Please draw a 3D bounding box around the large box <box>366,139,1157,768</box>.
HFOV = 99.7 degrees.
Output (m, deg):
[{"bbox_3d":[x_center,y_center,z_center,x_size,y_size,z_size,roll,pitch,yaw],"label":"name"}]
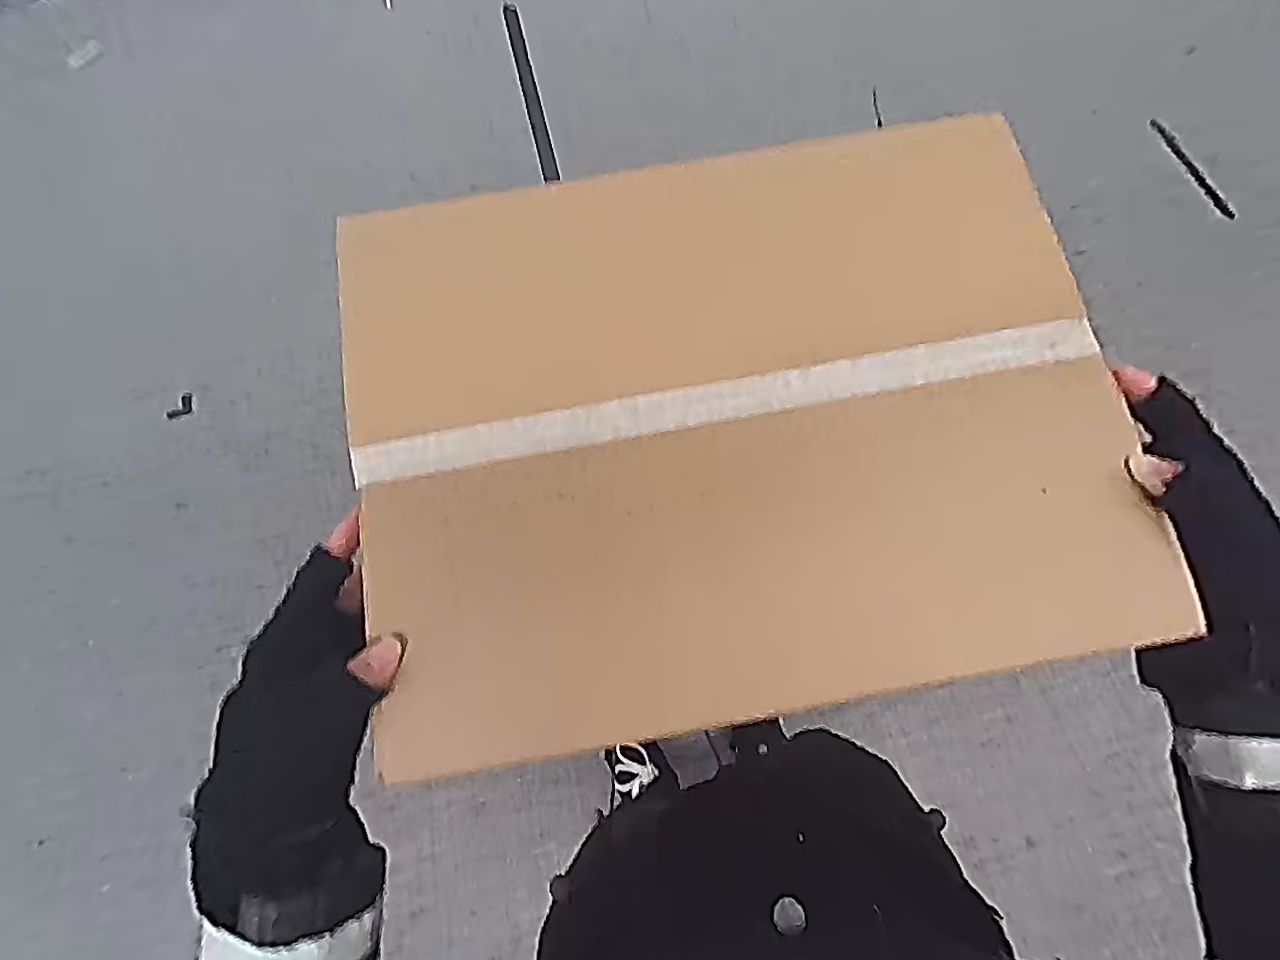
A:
[{"bbox_3d":[0.051,-0.004,0.455,0.408,0.320,0.320,-11,78,-1],"label":"large box"}]
